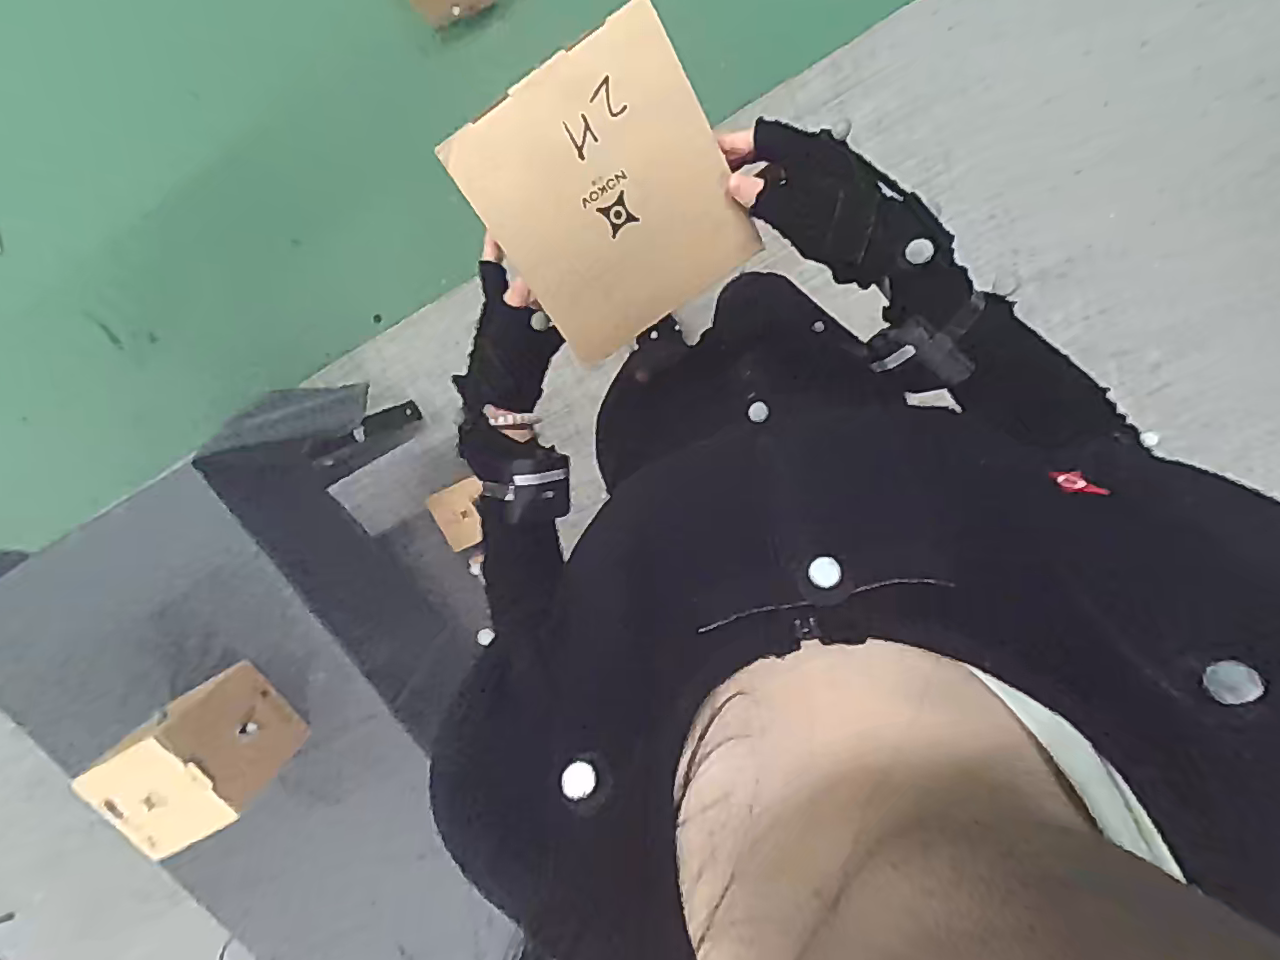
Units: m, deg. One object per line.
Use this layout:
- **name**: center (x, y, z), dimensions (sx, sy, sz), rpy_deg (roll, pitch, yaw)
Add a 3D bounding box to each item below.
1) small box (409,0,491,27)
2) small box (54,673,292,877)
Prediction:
- **small box**: center (-0.428, -1.091, 1.104), dimensions (0.168, 0.176, 0.179), rpy_deg (-16, 106, 7)
- **small box**: center (-0.658, 0.421, 0.795), dimensions (0.179, 0.176, 0.168), rpy_deg (-30, 103, 9)
